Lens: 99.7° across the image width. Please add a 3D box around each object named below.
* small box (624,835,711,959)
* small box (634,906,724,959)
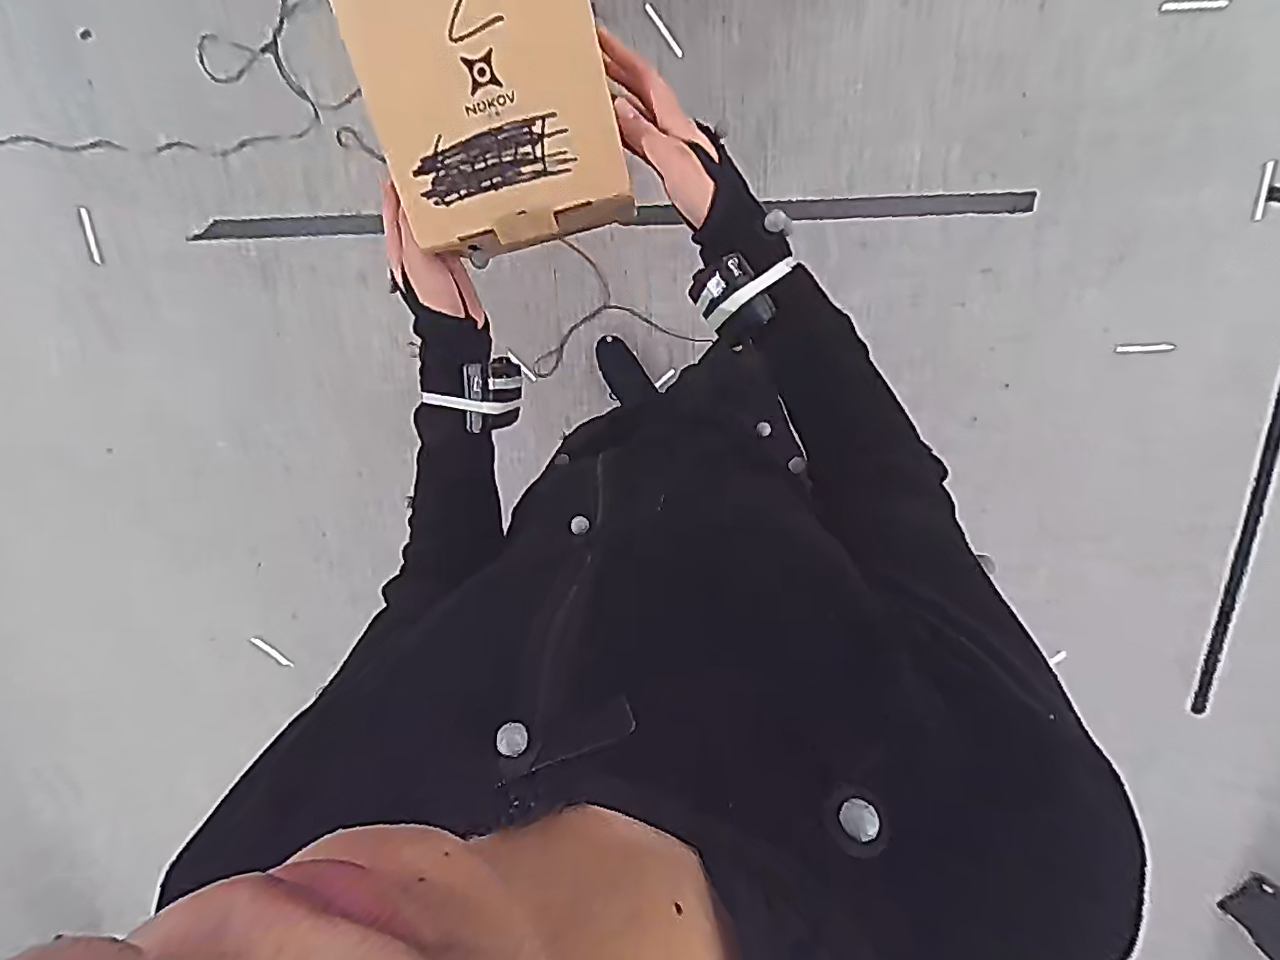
[{"bbox_3d":[0.058,0.924,1.200,0.179,0.176,0.168,2,105,2],"label":"small box"},{"bbox_3d":[0.072,0.968,1.043,0.168,0.176,0.179,4,106,0],"label":"small box"}]
